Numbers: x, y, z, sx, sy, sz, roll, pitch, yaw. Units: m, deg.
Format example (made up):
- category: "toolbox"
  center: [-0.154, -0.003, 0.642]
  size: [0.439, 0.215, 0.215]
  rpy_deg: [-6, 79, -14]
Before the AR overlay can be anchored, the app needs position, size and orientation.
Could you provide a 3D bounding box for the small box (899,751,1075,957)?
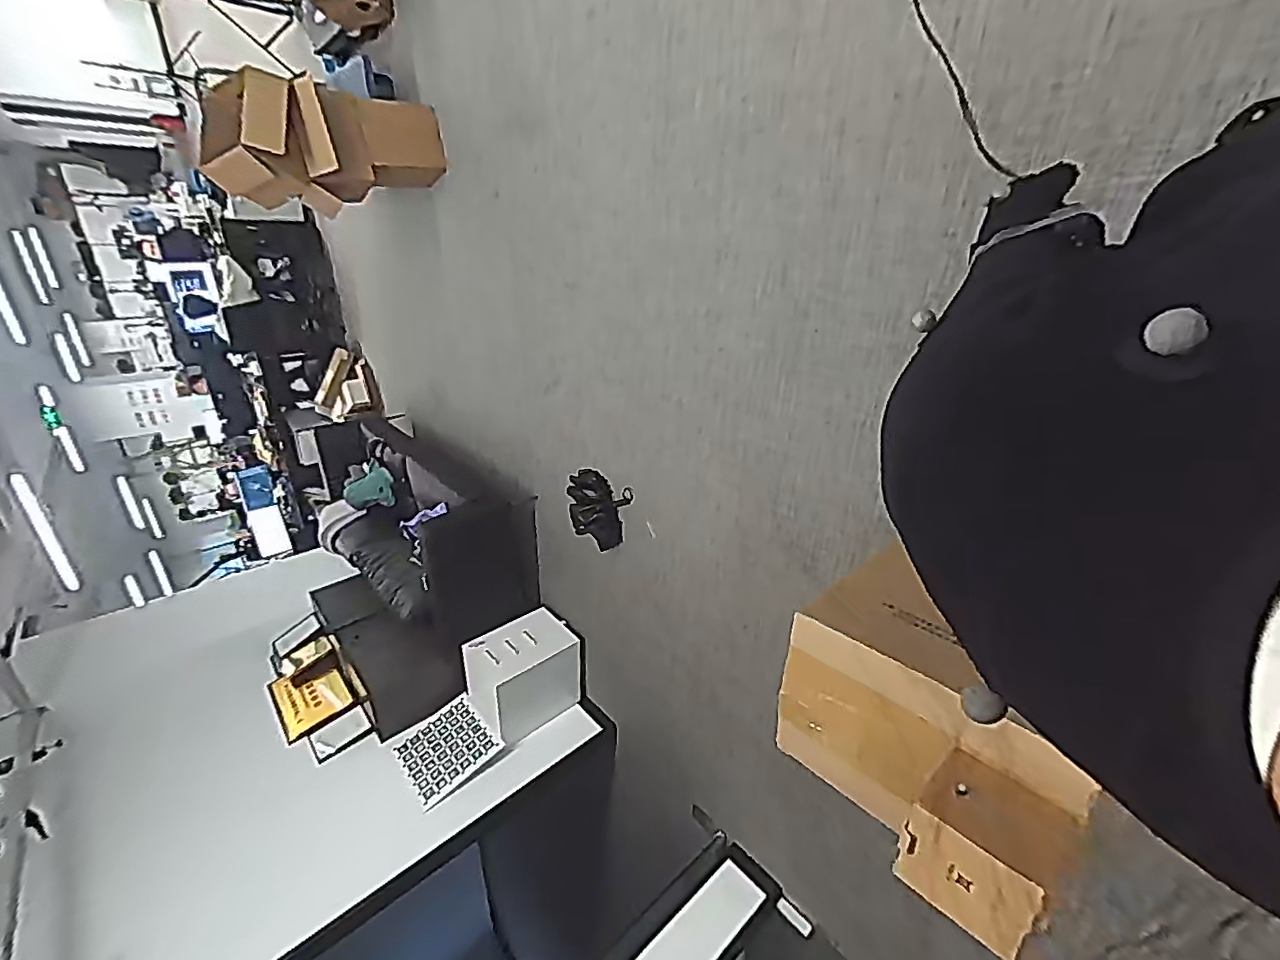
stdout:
- category: "small box"
  center: [0.546, 0.568, 0.855]
  size: [0.179, 0.176, 0.168]
  rpy_deg: [21, 118, 42]
